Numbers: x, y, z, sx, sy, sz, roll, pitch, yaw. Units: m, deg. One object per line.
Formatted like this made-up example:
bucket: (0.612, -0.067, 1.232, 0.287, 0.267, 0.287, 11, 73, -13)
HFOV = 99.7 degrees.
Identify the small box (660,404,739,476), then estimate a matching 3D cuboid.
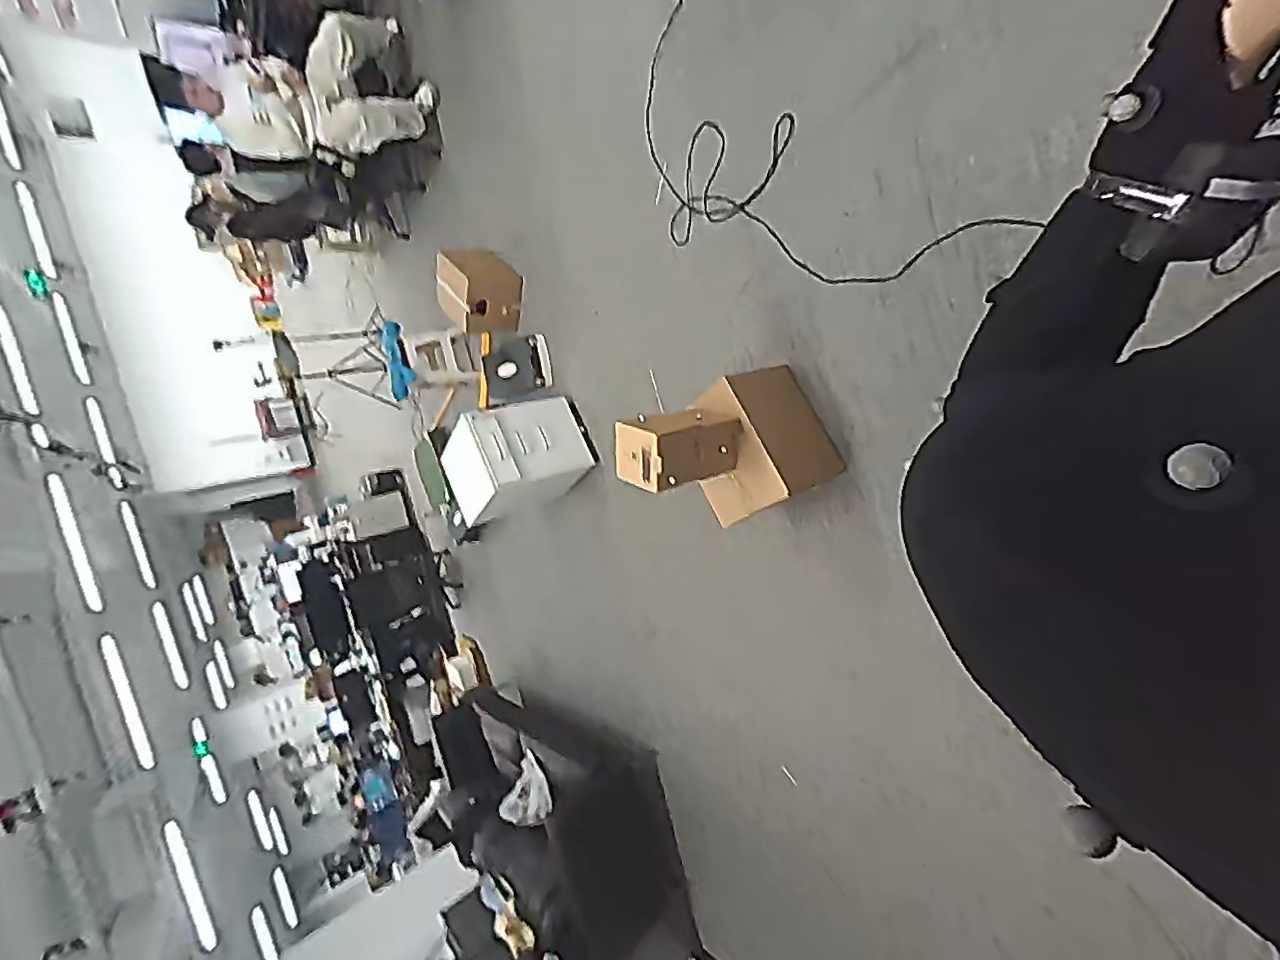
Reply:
small box: (0.180, -0.127, 1.626, 0.179, 0.176, 0.168, 21, 120, 44)
